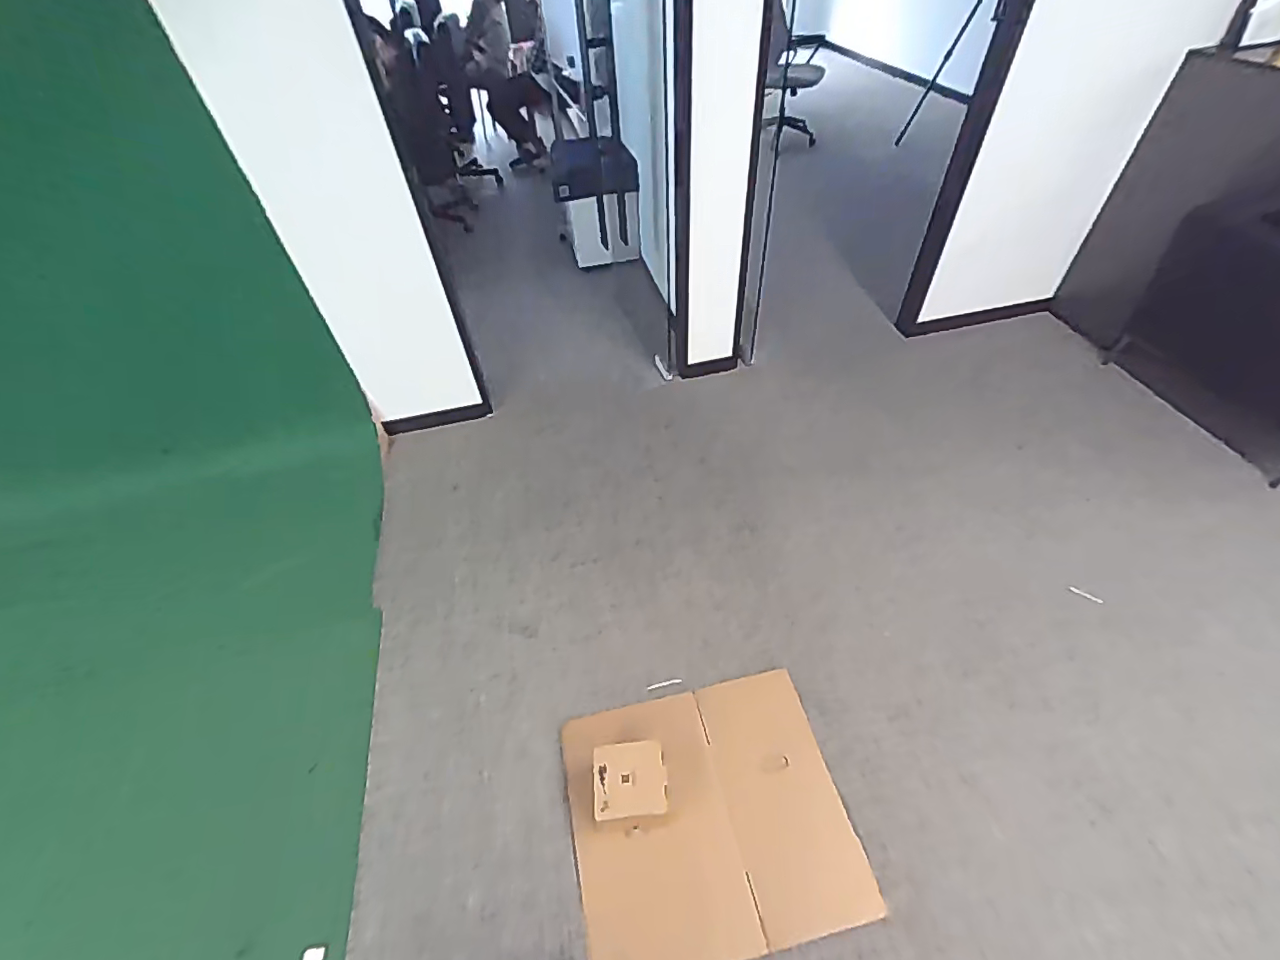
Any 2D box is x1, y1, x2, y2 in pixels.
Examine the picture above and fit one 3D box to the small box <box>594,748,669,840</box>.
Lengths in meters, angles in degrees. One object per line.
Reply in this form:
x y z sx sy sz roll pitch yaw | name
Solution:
-0.022 0.795 1.366 0.179 0.176 0.168 -5 47 -1 | small box
